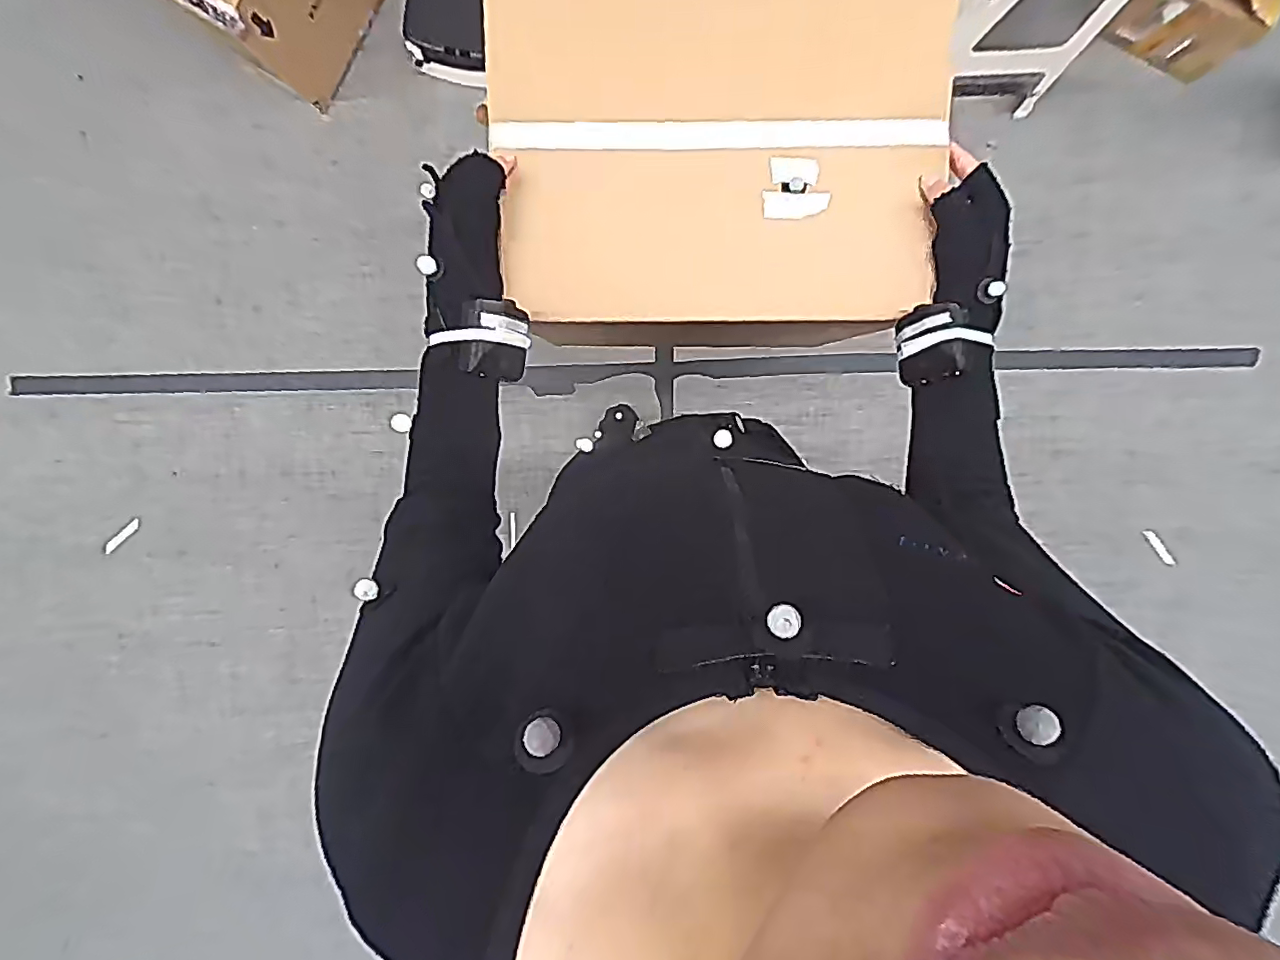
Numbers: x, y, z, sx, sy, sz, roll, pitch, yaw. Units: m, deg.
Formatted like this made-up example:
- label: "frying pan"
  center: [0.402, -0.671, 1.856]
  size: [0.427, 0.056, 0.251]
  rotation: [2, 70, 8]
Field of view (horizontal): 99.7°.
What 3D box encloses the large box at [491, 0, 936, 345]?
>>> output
- label: "large box"
  center: [0.064, -0.337, 0.644]
  size: [0.408, 0.320, 0.320]
  rotation: [-1, 100, -1]
